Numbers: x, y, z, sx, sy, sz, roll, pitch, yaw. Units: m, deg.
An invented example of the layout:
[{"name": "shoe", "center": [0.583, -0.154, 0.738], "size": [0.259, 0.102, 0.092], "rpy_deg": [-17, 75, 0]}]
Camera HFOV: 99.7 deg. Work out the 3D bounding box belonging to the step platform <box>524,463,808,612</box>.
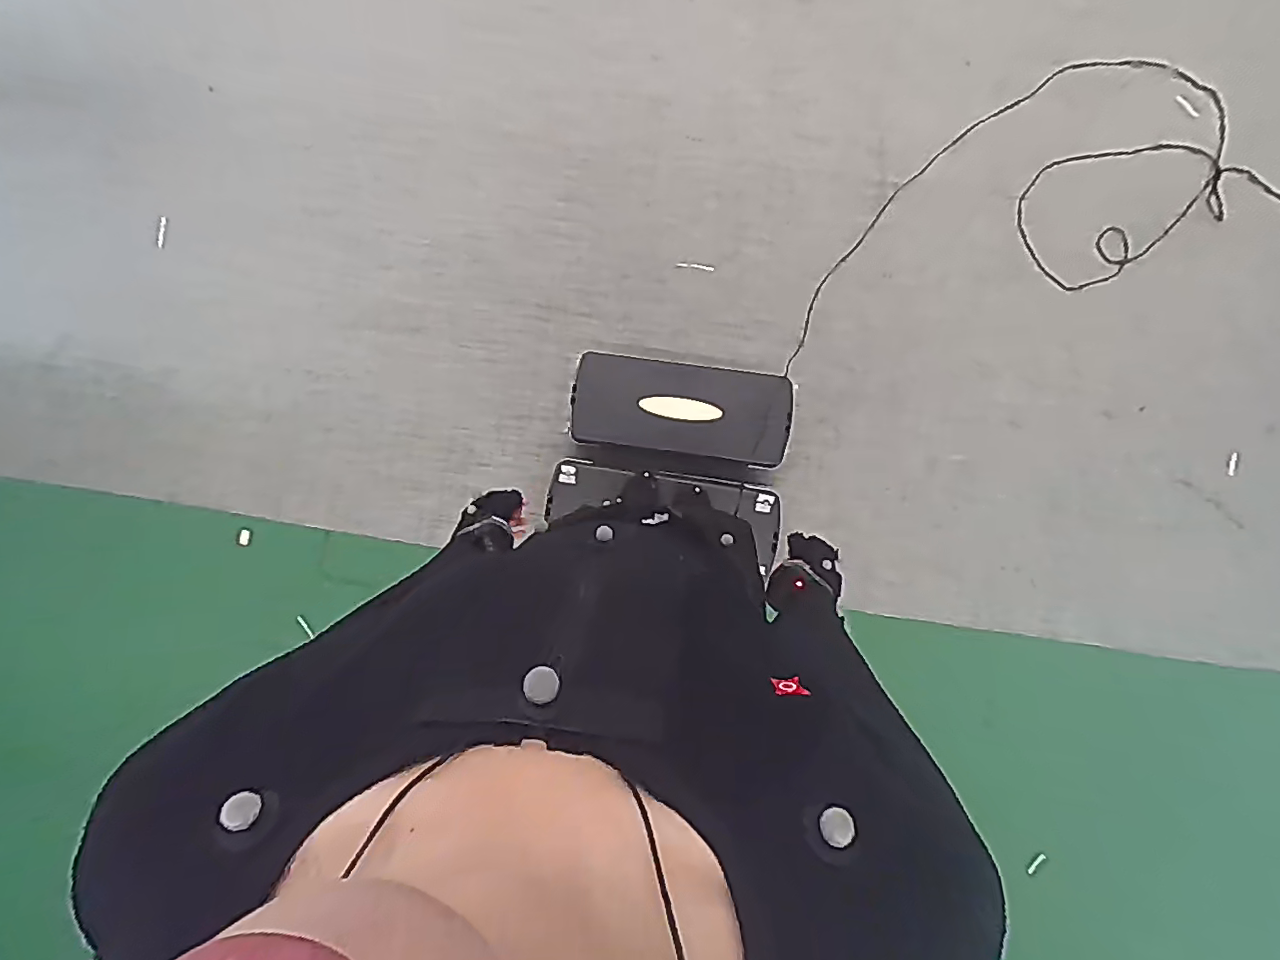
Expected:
[{"name": "step platform", "center": [0.062, 0.138, 1.395], "size": [0.684, 0.204, 0.286], "rpy_deg": [8, 90, 1]}]
